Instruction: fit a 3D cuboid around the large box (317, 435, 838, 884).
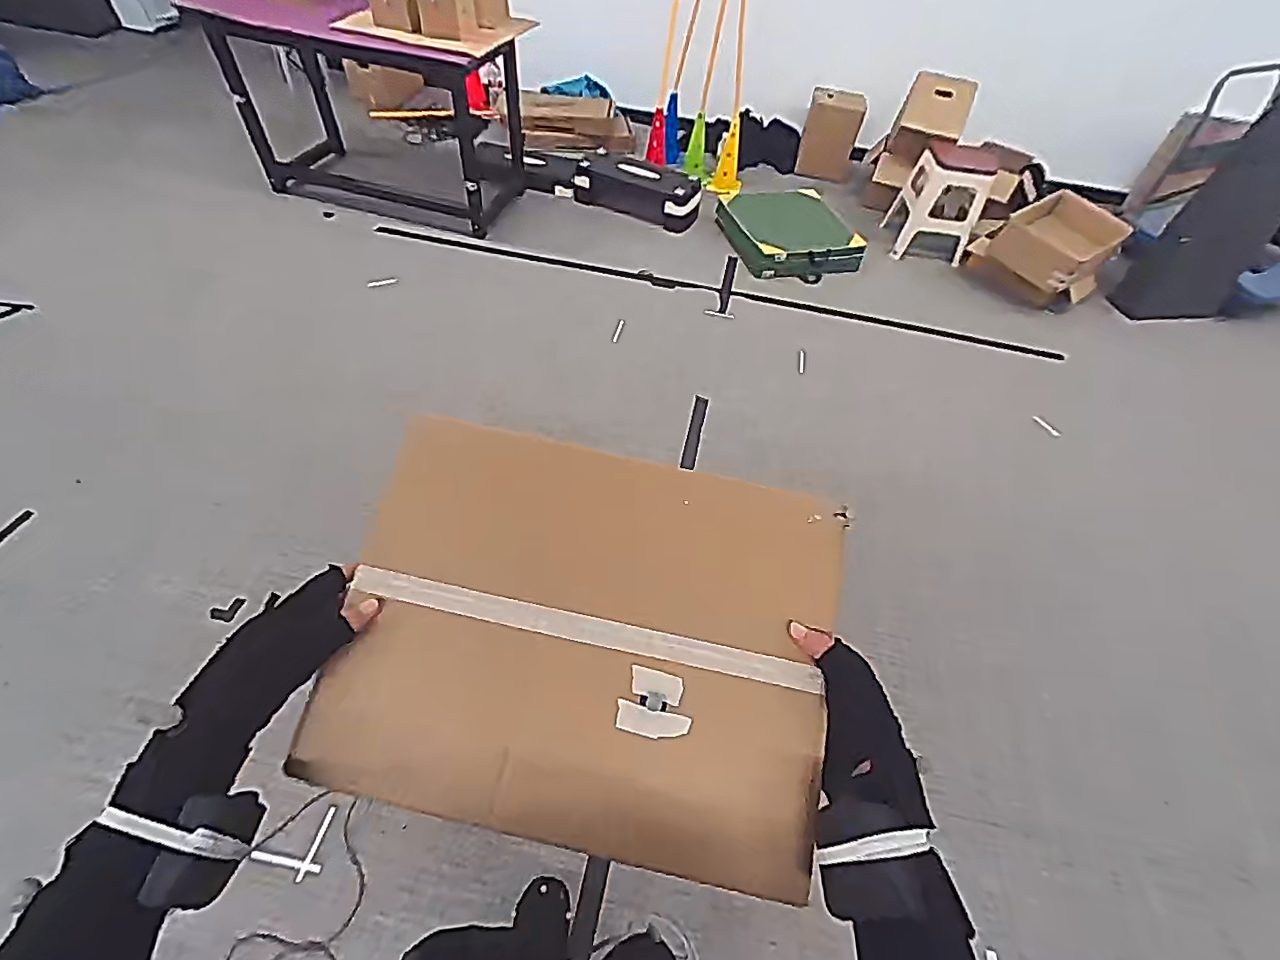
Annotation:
[{"bbox_3d":[-0.041,0.180,0.611,0.408,0.320,0.320,12,73,3],"label":"large box"}]
